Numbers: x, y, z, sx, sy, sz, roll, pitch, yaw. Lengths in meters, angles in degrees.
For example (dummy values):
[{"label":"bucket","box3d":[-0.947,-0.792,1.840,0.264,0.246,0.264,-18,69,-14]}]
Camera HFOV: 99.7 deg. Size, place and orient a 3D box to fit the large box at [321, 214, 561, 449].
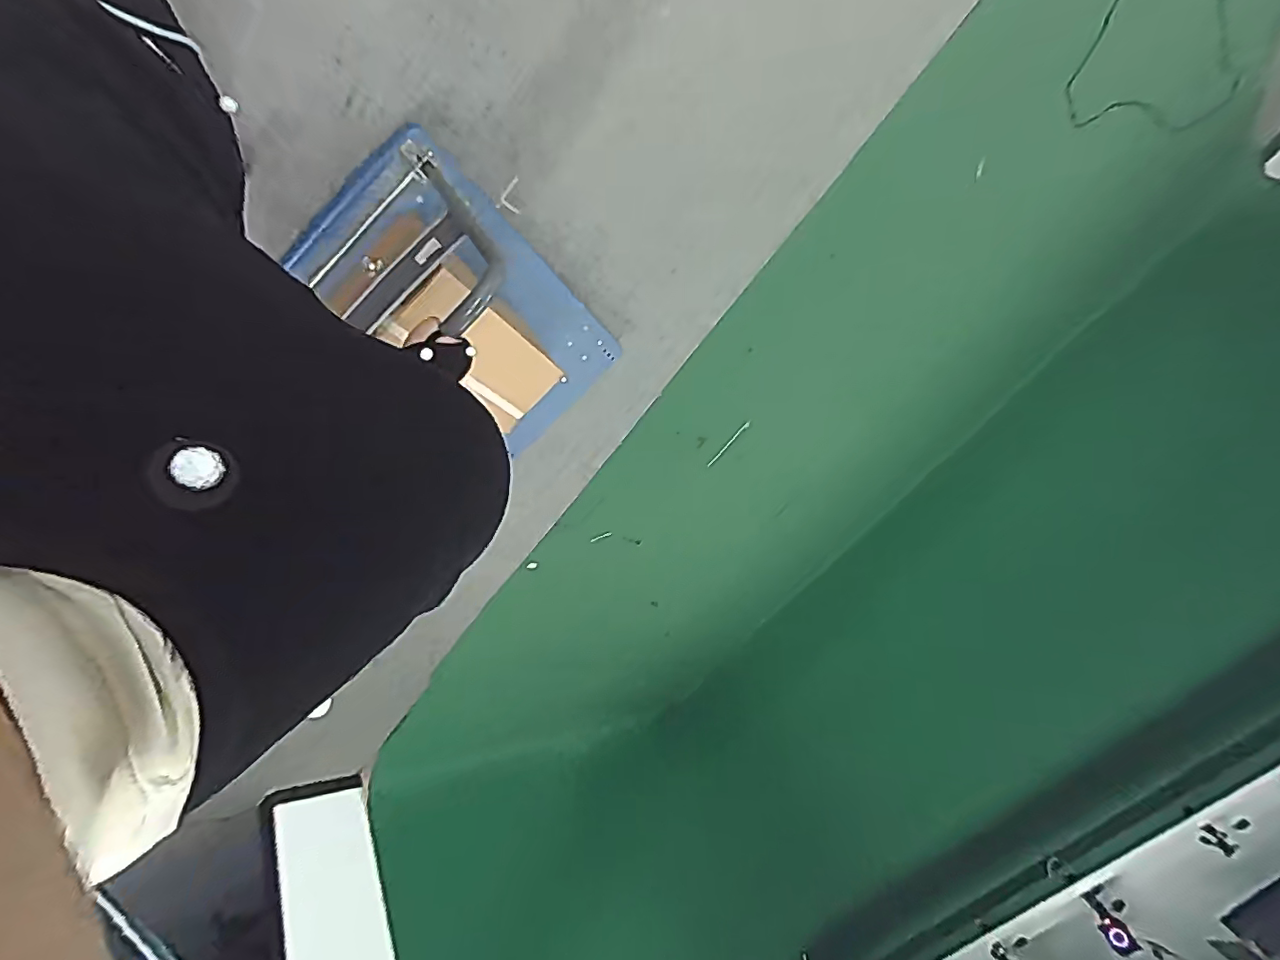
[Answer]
[{"label":"large box","box3d":[-0.478,-0.346,1.317,0.320,0.320,0.408,-42,144,8]}]
